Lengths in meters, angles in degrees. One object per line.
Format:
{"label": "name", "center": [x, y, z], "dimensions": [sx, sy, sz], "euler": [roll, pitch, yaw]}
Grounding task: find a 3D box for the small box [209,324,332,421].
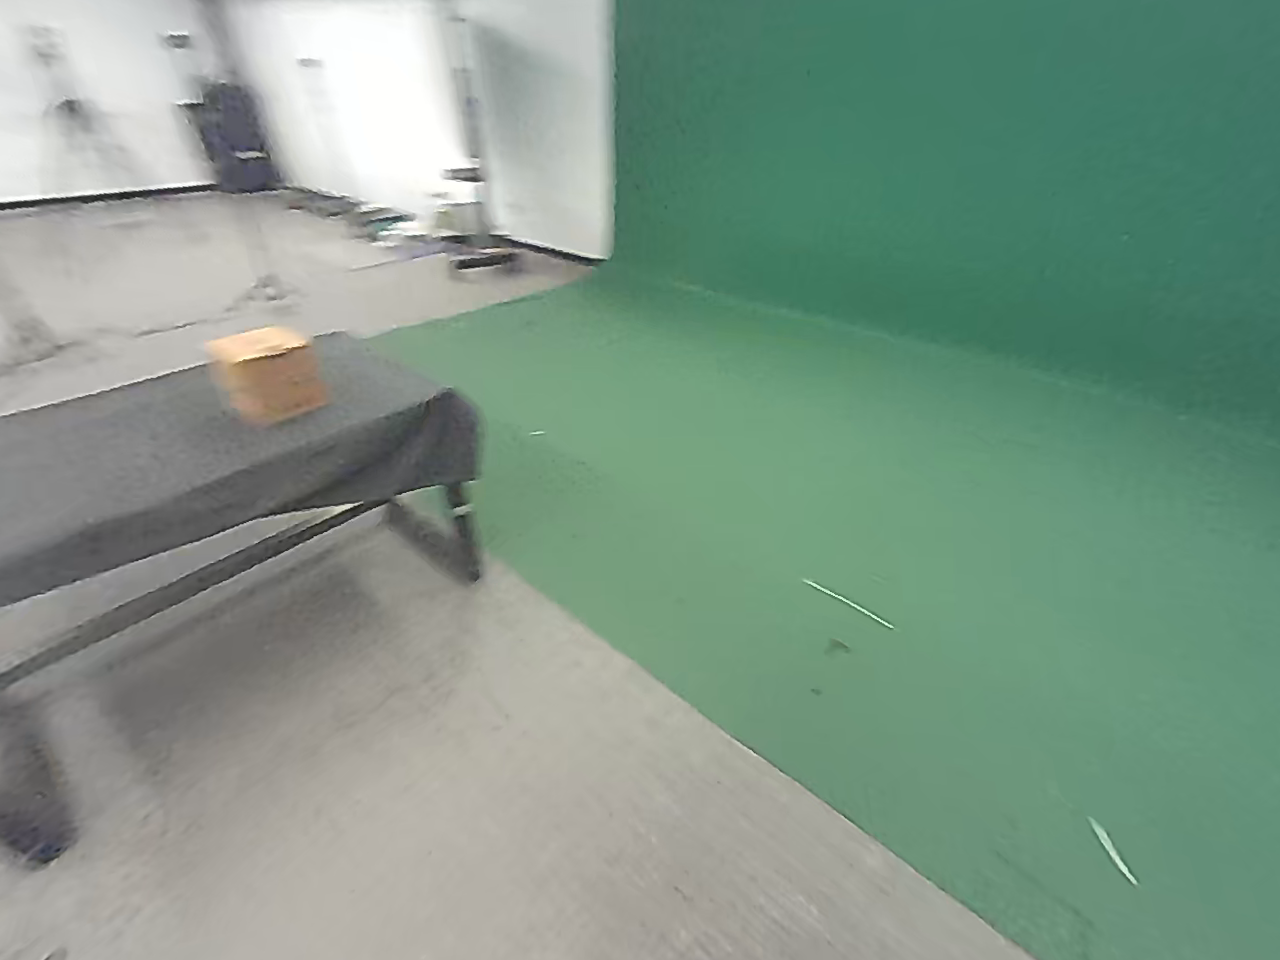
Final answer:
{"label": "small box", "center": [-0.889, -0.260, 1.316], "dimensions": [0.179, 0.176, 0.168], "euler": [24, 40, 30]}
